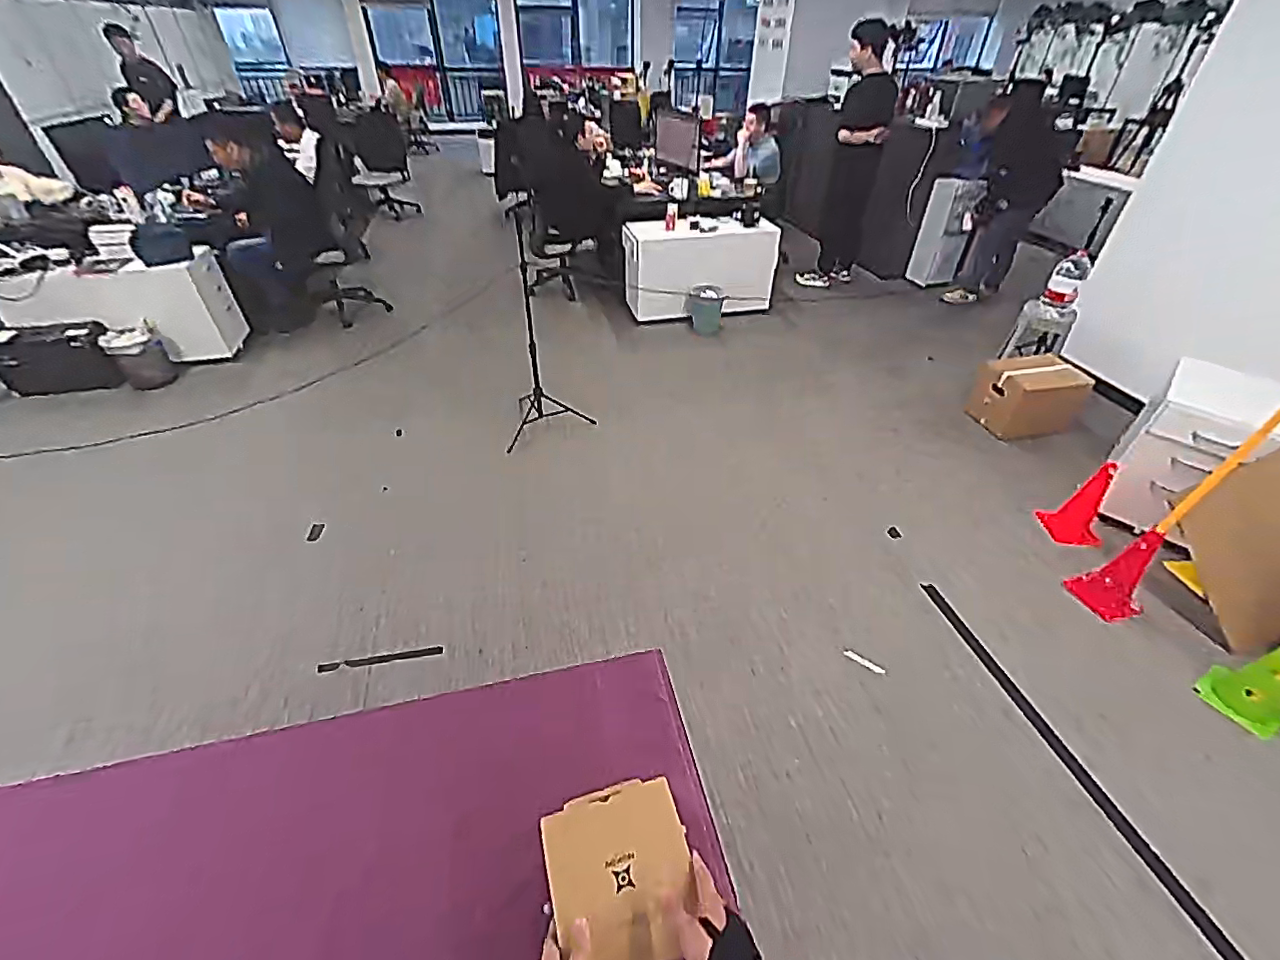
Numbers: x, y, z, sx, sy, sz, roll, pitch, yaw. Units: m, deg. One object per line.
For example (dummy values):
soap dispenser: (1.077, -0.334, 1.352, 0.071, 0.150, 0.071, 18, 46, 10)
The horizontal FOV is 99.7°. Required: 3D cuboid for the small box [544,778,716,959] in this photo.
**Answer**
small box: (-0.020, 0.514, 0.671, 0.168, 0.176, 0.179, -11, 41, -12)
